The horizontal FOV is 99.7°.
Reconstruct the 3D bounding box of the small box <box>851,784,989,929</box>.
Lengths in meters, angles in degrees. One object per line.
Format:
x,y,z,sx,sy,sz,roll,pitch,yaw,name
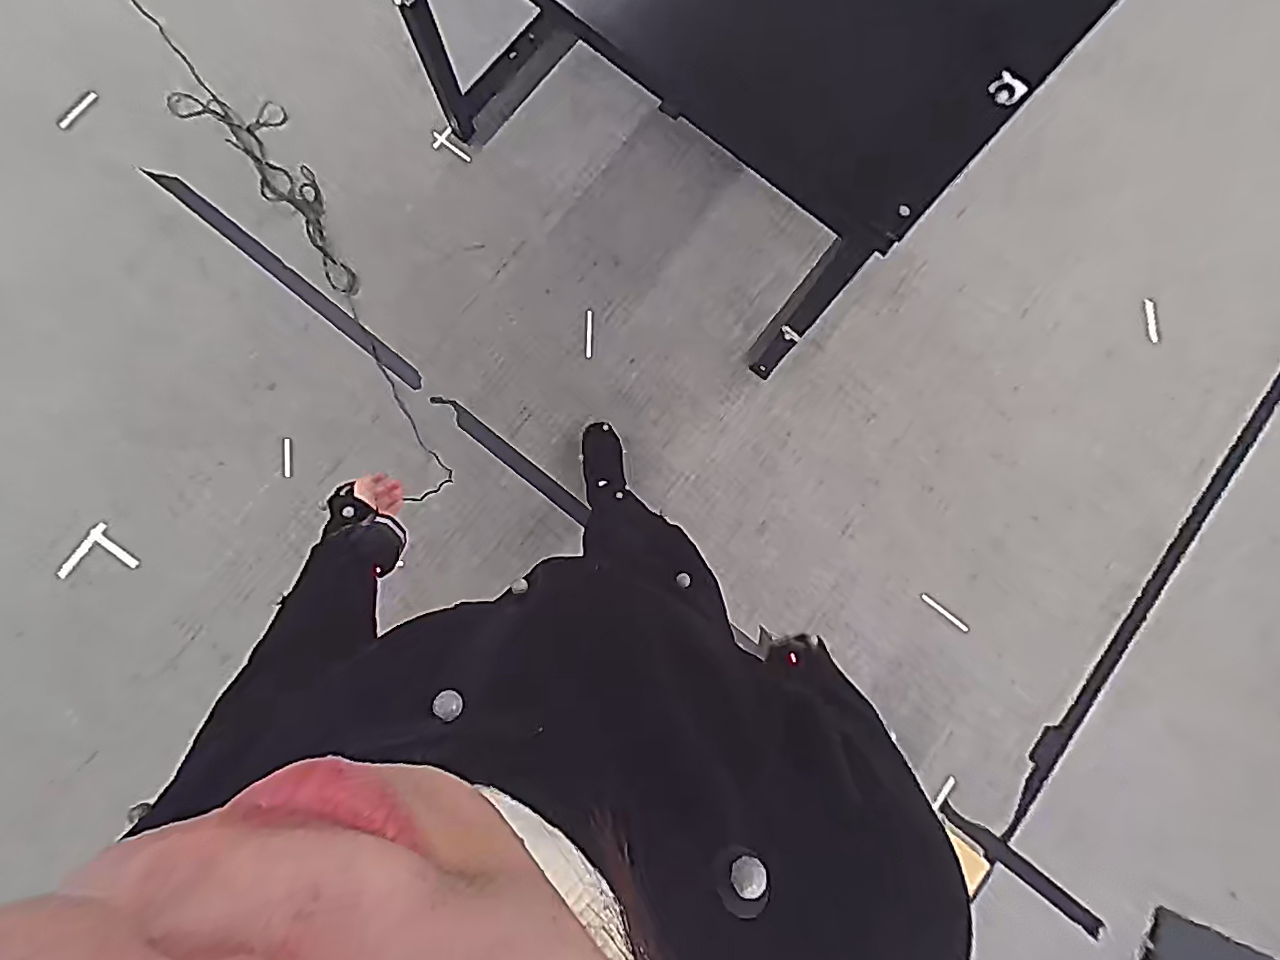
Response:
0.607,0.813,1.196,0.179,0.176,0.168,40,85,1,small box
